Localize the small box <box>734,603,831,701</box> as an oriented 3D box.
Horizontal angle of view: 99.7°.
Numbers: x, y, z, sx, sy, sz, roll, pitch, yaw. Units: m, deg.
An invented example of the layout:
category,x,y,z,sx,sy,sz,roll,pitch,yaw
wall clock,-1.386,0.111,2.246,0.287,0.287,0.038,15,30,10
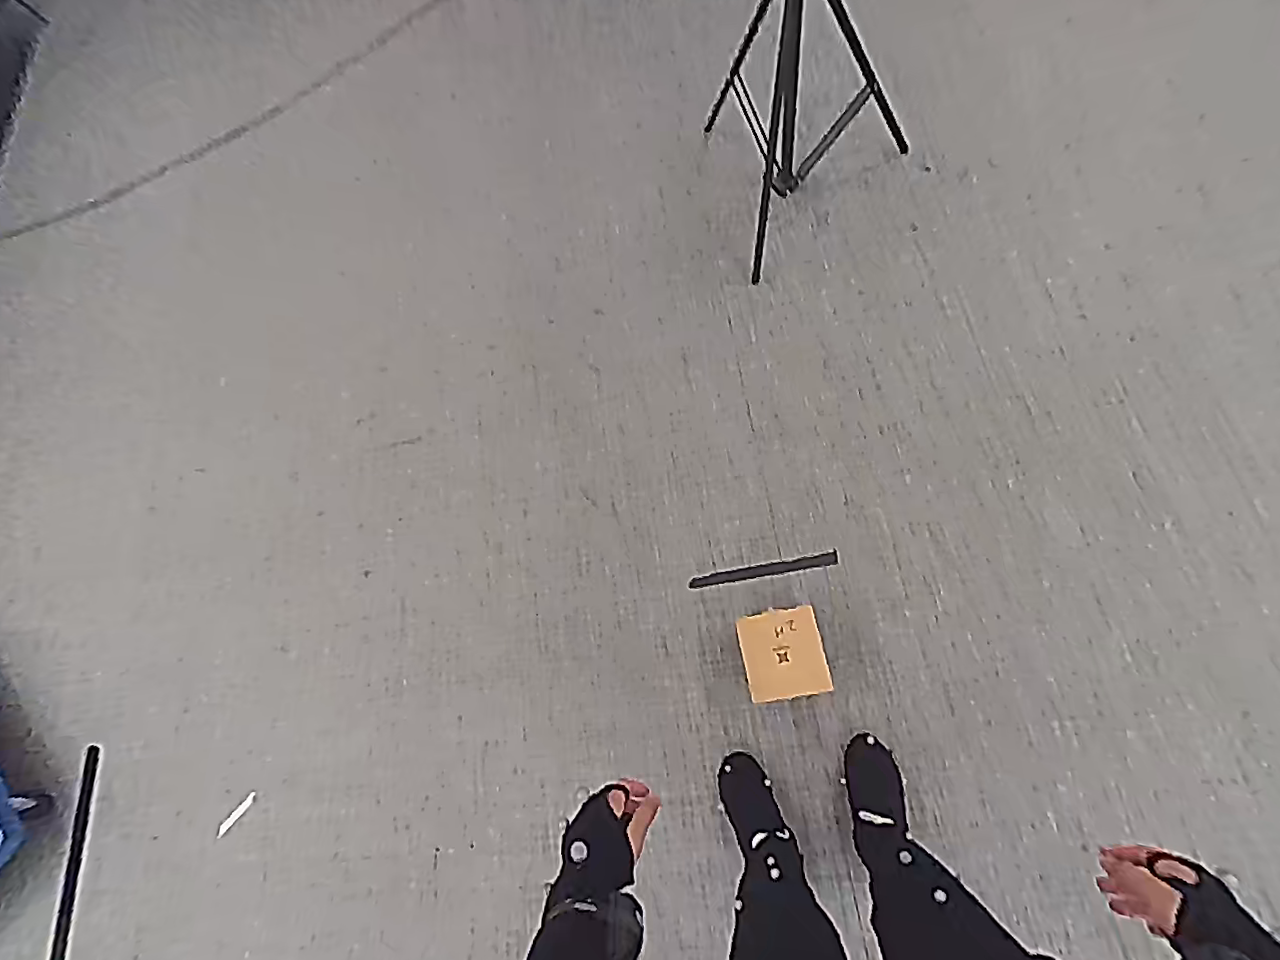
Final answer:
category,x,y,z,sx,sy,sz,roll,pitch,yaw
small box,0.308,0.375,1.189,0.168,0.176,0.179,-13,71,8
